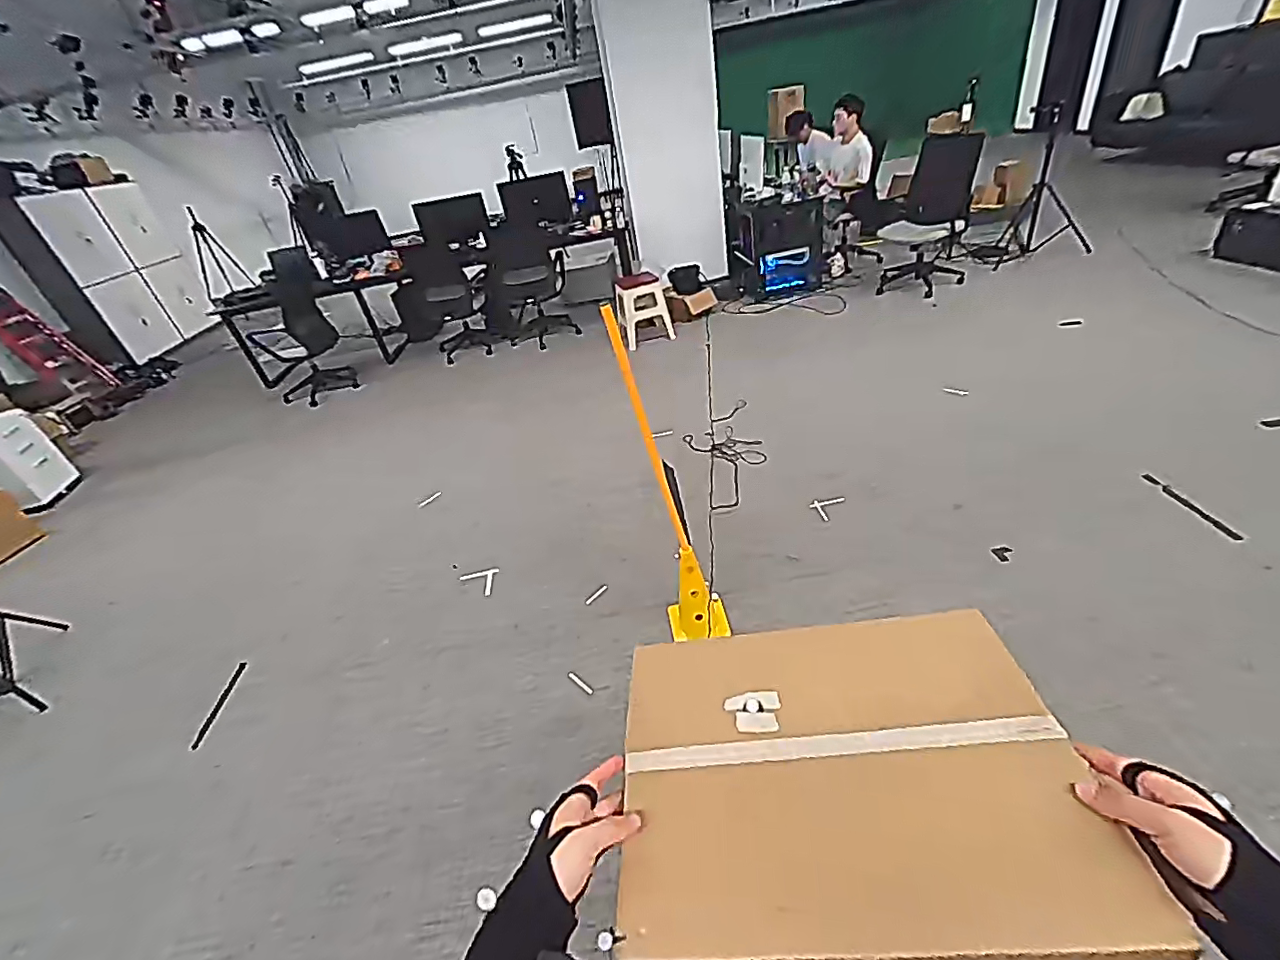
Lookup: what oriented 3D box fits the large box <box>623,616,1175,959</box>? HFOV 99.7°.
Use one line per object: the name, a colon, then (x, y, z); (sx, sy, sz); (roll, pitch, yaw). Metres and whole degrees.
large box: (0.217, 0.395, 0.598); (0.408, 0.320, 0.320); (-10, 29, 8)
